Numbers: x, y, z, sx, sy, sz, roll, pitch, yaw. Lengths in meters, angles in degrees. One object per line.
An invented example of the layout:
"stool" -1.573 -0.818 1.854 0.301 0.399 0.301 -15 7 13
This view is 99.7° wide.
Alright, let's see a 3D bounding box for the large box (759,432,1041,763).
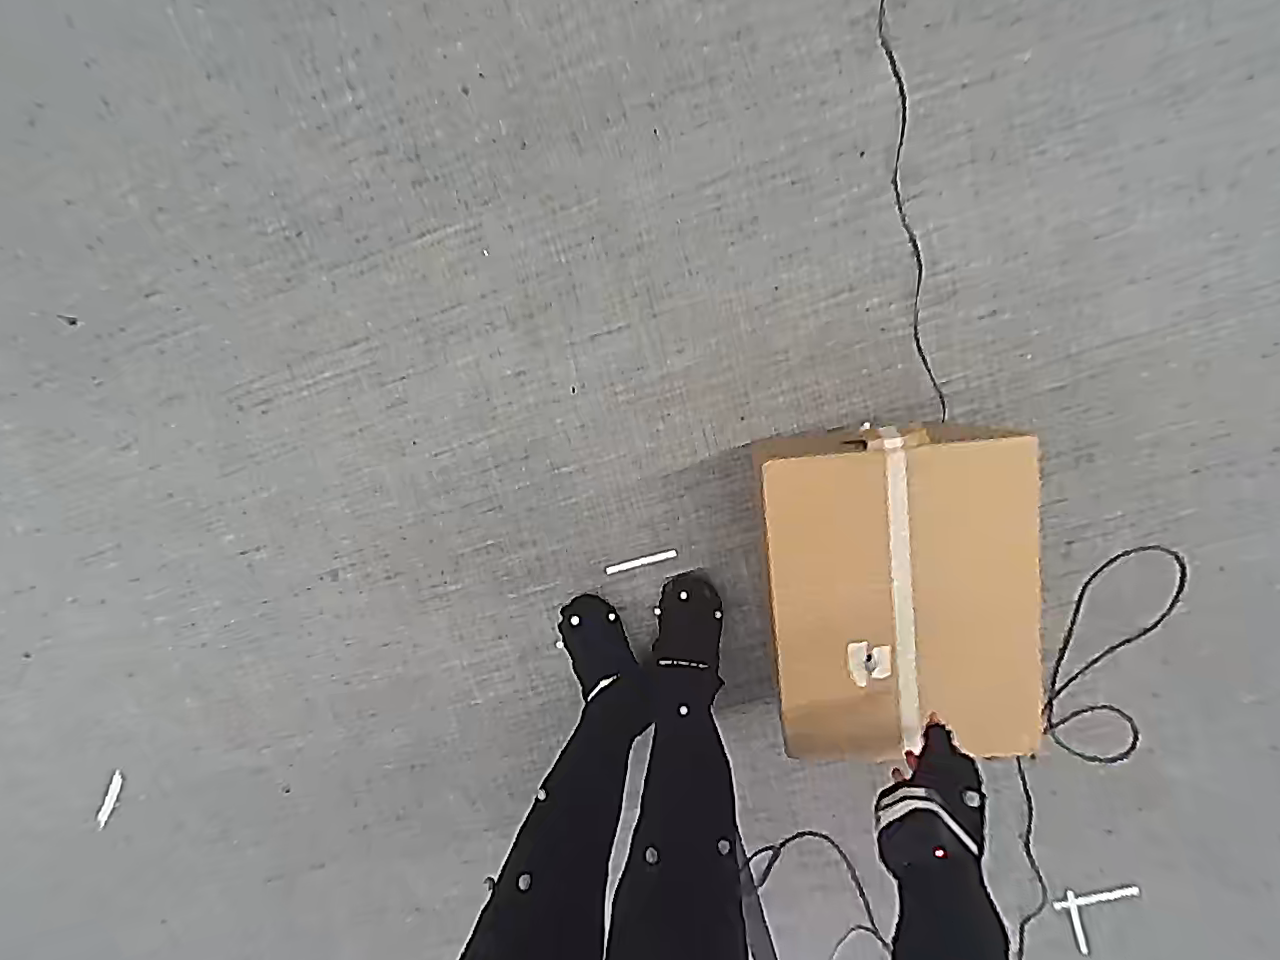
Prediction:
"large box" 0.363 0.151 0.832 0.320 0.320 0.408 -4 99 11
